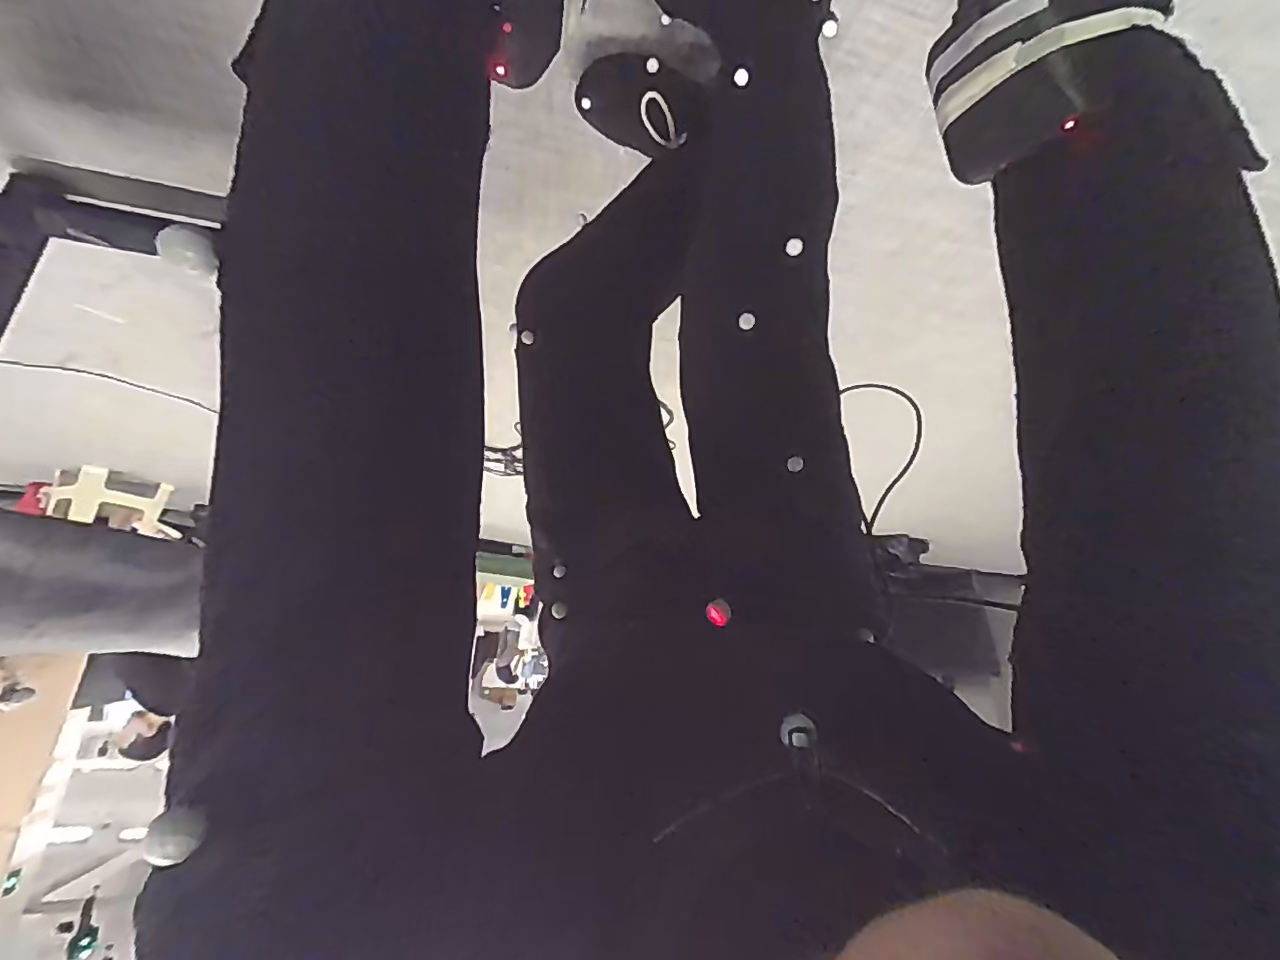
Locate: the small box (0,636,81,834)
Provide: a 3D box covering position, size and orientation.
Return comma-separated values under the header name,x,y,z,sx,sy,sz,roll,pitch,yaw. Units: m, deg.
name,x,y,z,sx,sy,sz,roll,pitch,yaw
small box,-0.639,0.211,0.443,0.179,0.176,0.168,6,161,-10
